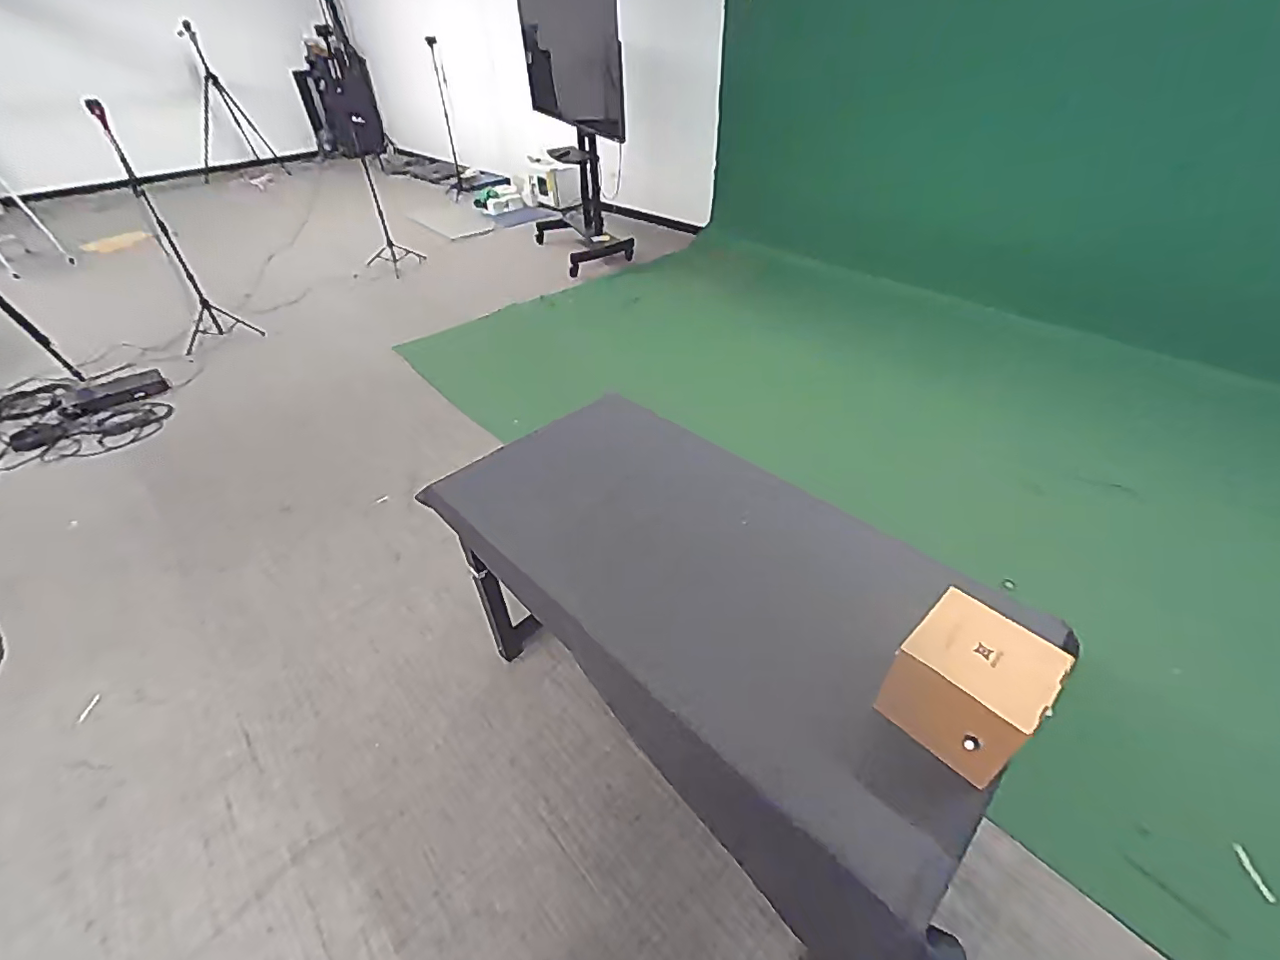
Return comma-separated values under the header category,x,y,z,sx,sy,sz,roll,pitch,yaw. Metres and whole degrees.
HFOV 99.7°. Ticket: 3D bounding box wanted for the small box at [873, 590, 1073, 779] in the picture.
category,x,y,z,sx,sy,sz,roll,pitch,yaw
small box,0.482,0.307,0.803,0.168,0.176,0.179,-31,46,-31
